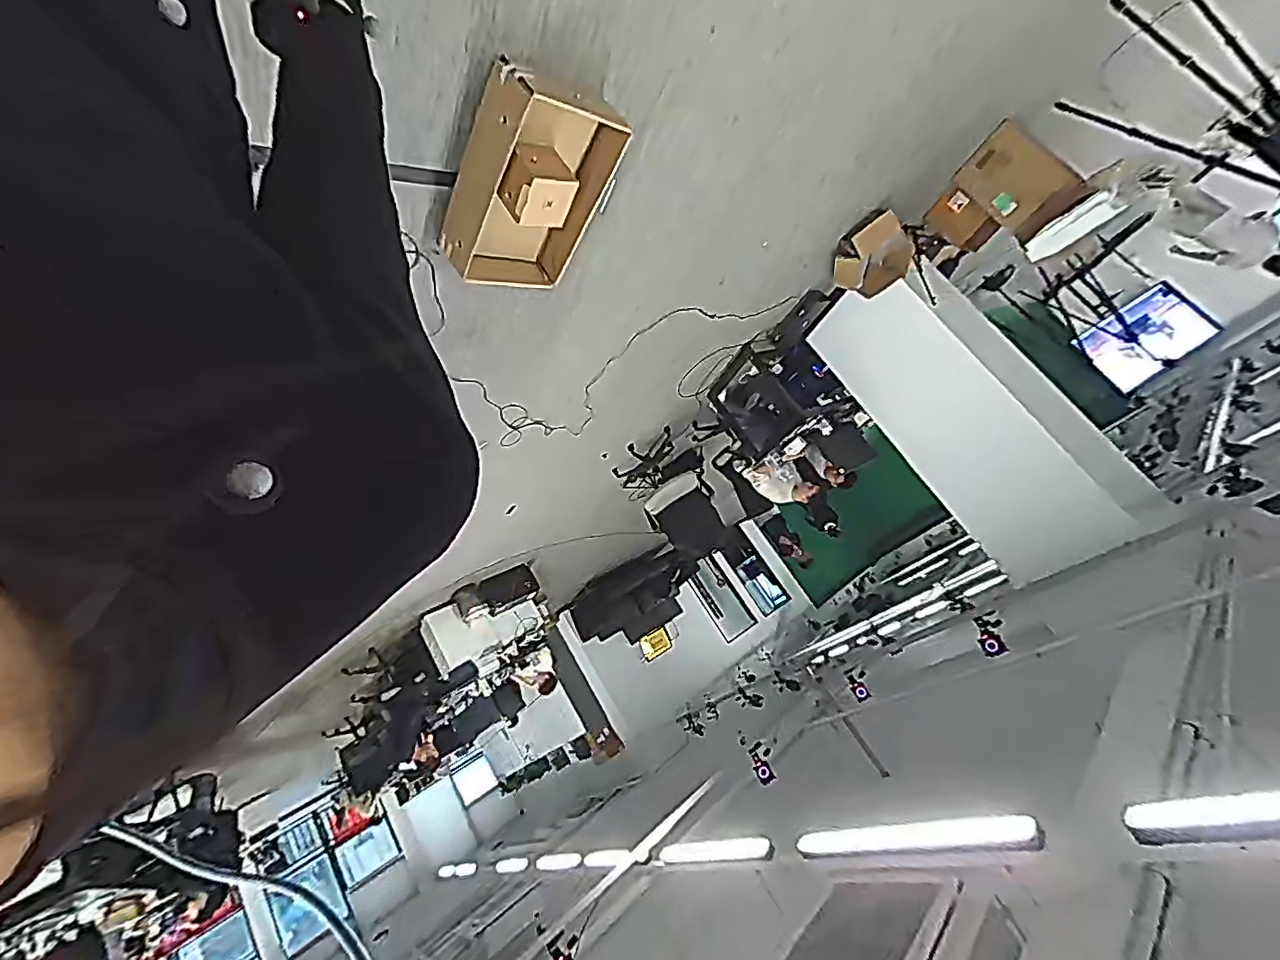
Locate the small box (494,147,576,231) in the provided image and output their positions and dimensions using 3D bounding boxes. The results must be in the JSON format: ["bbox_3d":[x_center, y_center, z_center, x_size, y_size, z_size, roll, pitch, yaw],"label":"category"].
[{"bbox_3d":[-0.338,-0.919,1.711,0.179,0.176,0.168,-20,160,-40],"label":"small box"}]
